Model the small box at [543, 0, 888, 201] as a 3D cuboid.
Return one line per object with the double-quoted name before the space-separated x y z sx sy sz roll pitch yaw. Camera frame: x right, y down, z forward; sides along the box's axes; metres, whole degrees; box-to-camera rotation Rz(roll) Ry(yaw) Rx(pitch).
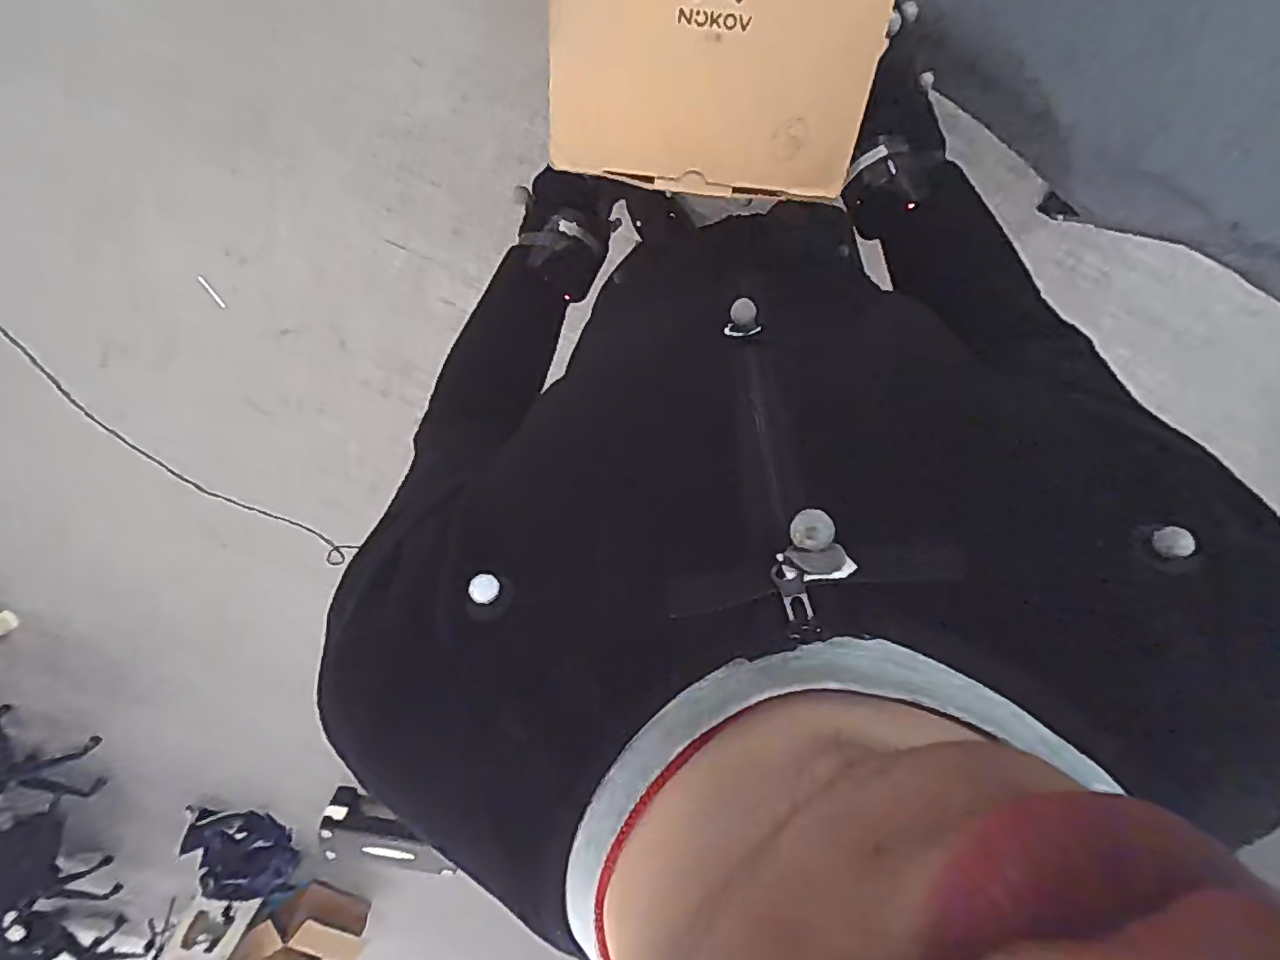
"small box" 0.043 -0.281 0.316 0.168 0.176 0.179 7 125 1
